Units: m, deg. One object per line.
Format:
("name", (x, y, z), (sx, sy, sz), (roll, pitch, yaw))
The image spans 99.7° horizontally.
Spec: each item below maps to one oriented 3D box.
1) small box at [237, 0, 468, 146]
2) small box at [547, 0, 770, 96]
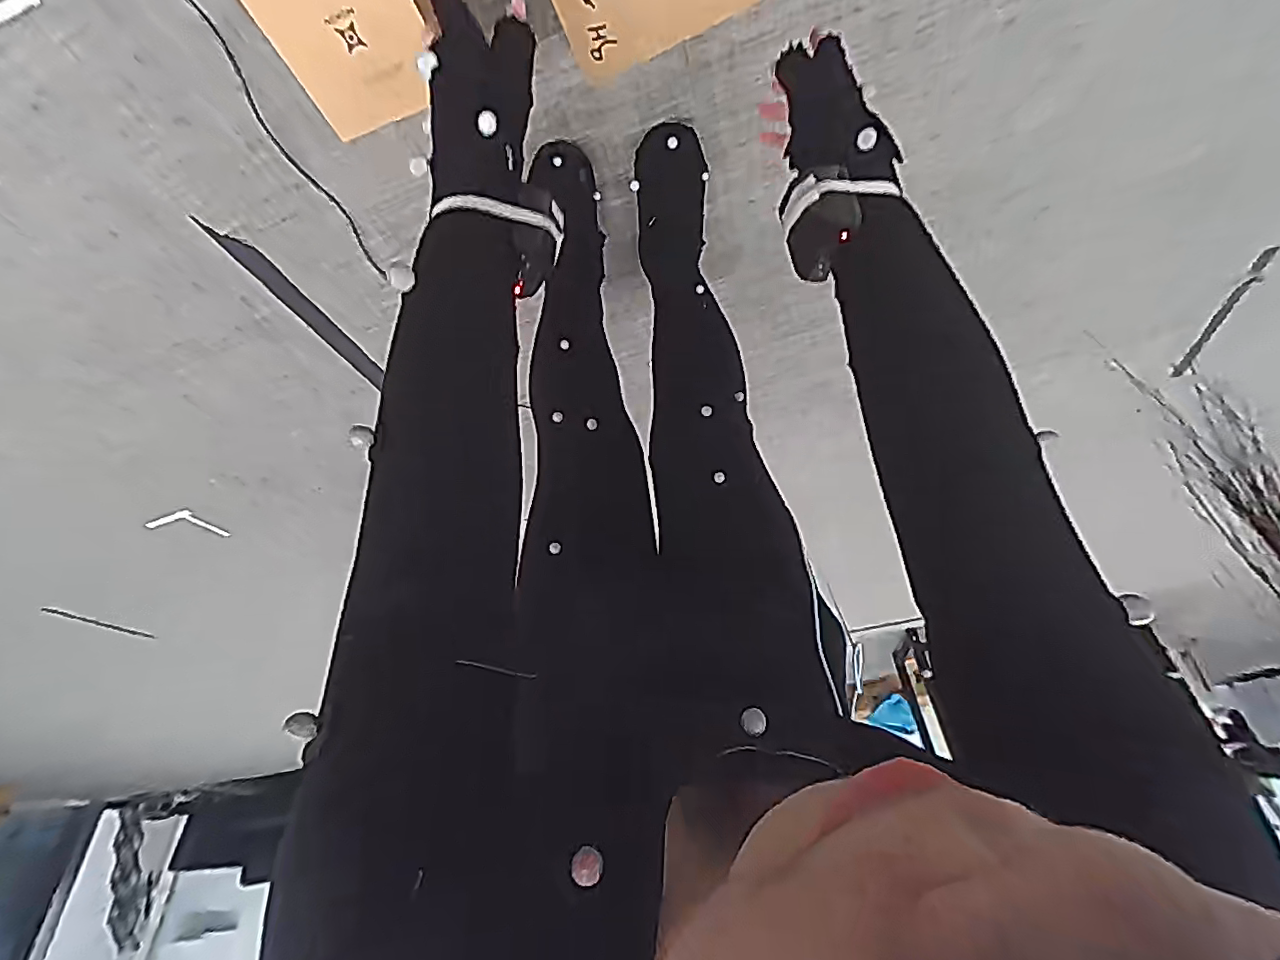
("small box", (-0.317, -0.535, 0.618), (0.168, 0.176, 0.179), (-13, 146, 11))
("small box", (-0.006, -0.480, 0.454), (0.179, 0.176, 0.168), (-17, 144, 14))
